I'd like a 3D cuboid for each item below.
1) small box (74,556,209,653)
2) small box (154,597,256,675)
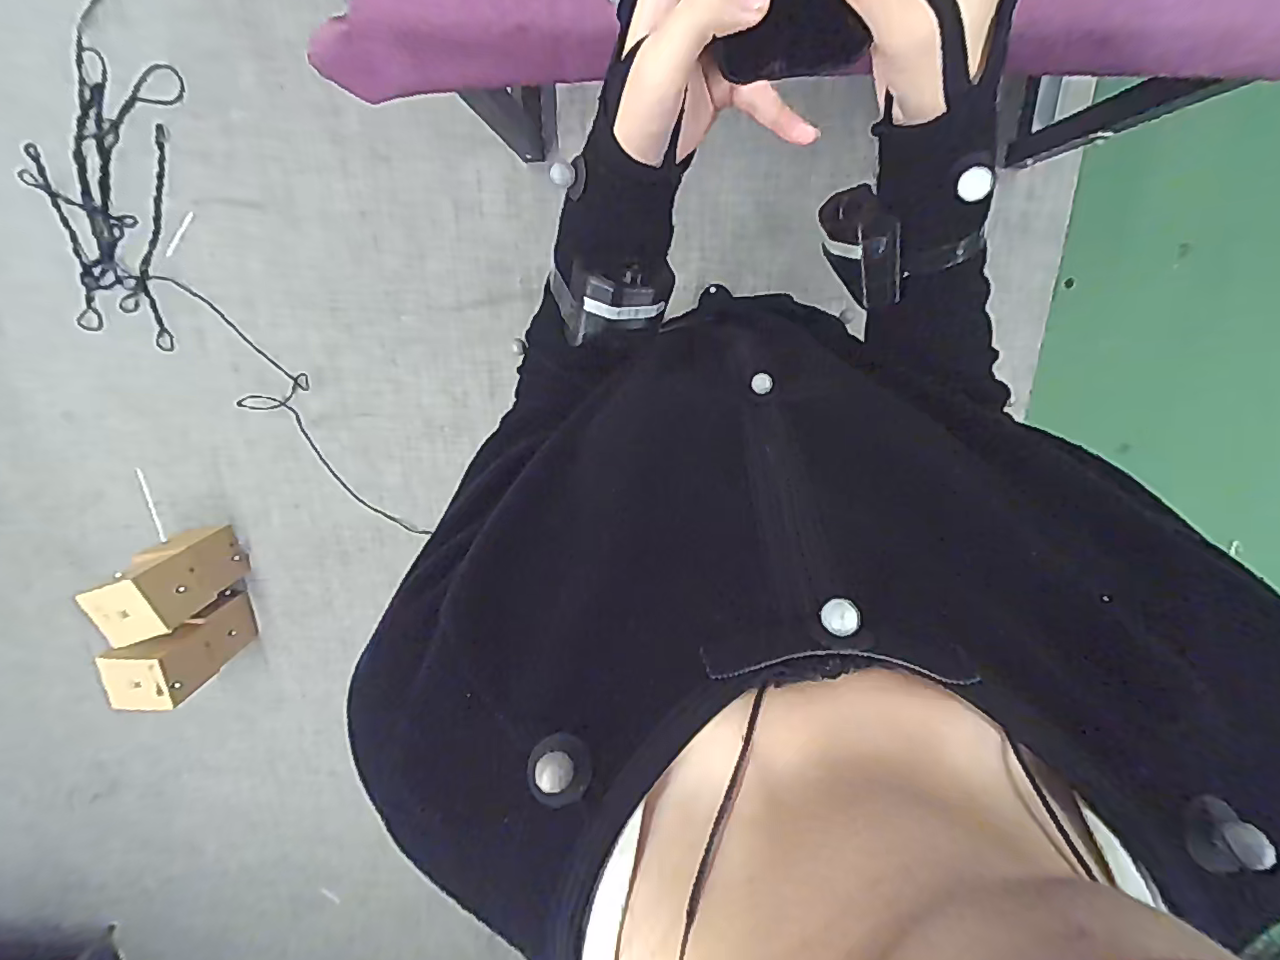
[{"bbox_3d":[-1.302,0.323,1.433,0.179,0.176,0.168,-17,107,8],"label":"small box"},{"bbox_3d":[-1.326,0.471,1.653,0.168,0.176,0.179,0,109,3],"label":"small box"}]
